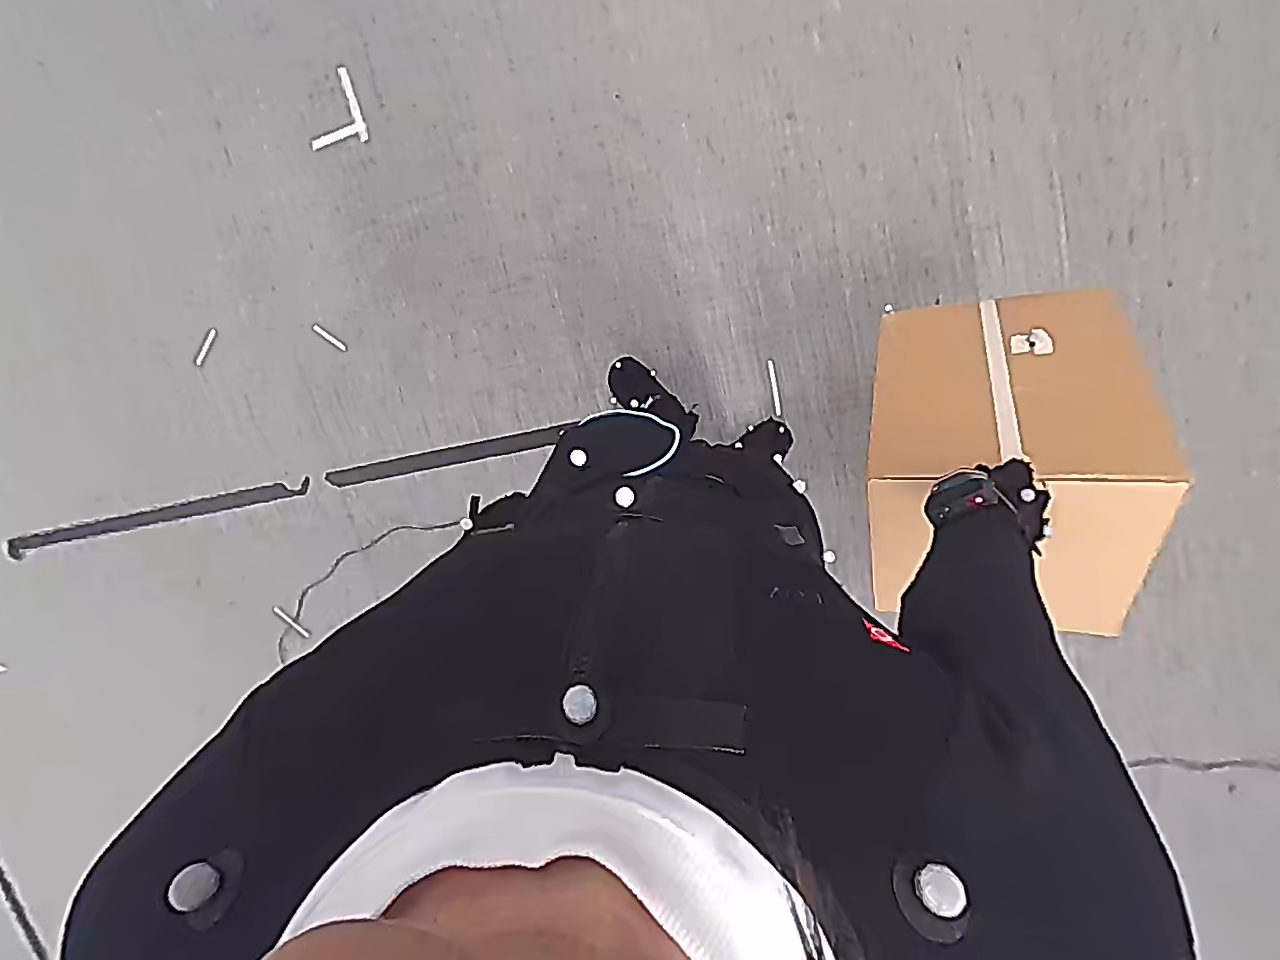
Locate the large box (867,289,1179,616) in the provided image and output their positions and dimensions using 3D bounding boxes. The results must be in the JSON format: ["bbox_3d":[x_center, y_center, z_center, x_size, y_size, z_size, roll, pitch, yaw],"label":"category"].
[{"bbox_3d":[0.540,-0.044,0.856,0.320,0.408,0.320,0,135,25],"label":"large box"}]
